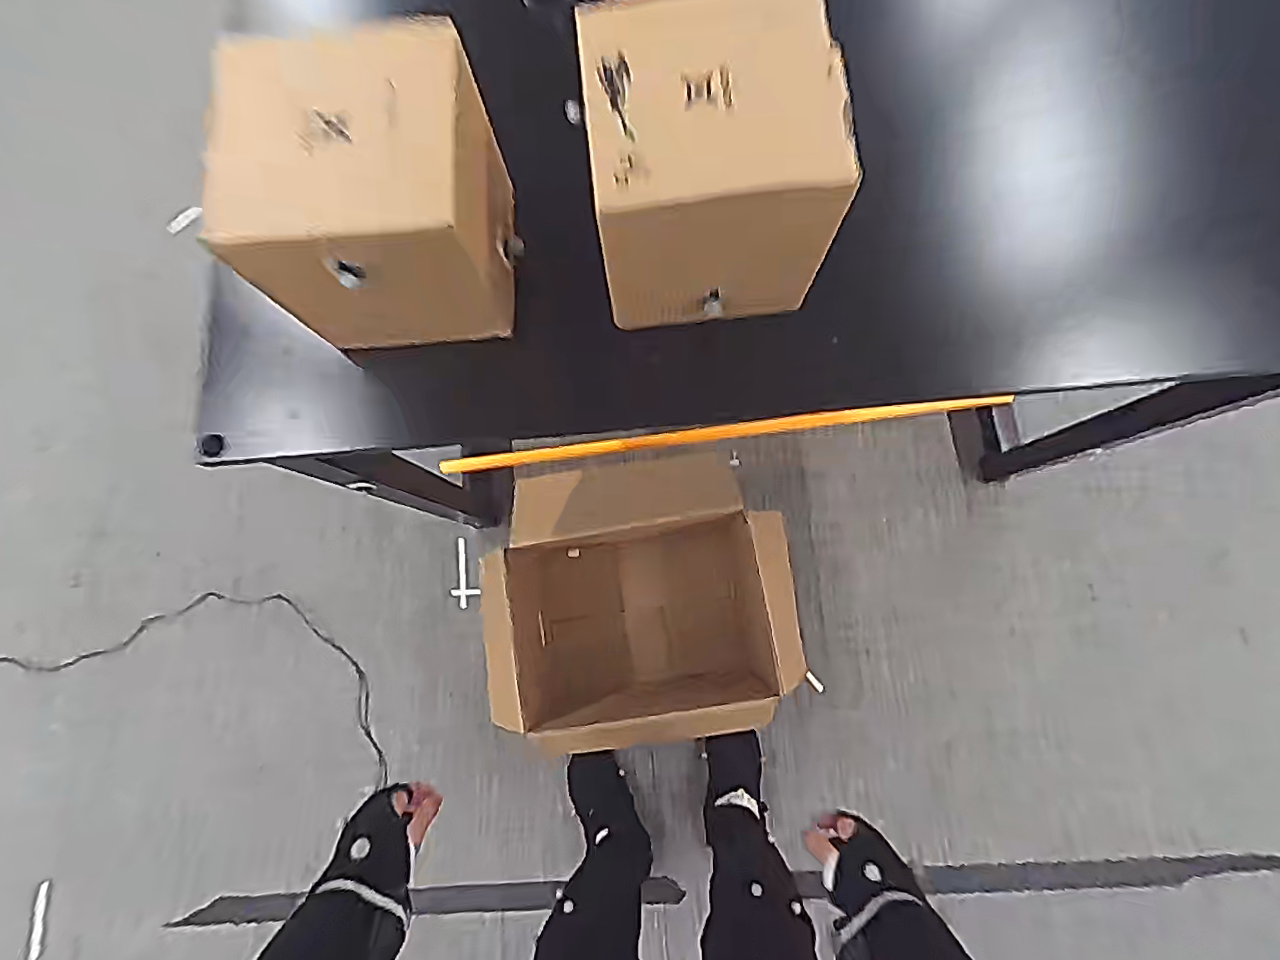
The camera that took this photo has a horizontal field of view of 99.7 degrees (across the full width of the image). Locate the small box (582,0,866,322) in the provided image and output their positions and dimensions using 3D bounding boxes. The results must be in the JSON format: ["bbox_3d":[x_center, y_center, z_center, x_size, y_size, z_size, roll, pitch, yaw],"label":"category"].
[{"bbox_3d":[0.053,-0.247,0.439,0.179,0.176,0.168,-6,78,0],"label":"small box"}]

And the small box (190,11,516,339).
[{"bbox_3d":[-0.210,-0.227,0.443,0.179,0.176,0.168,-4,80,0],"label":"small box"}]
